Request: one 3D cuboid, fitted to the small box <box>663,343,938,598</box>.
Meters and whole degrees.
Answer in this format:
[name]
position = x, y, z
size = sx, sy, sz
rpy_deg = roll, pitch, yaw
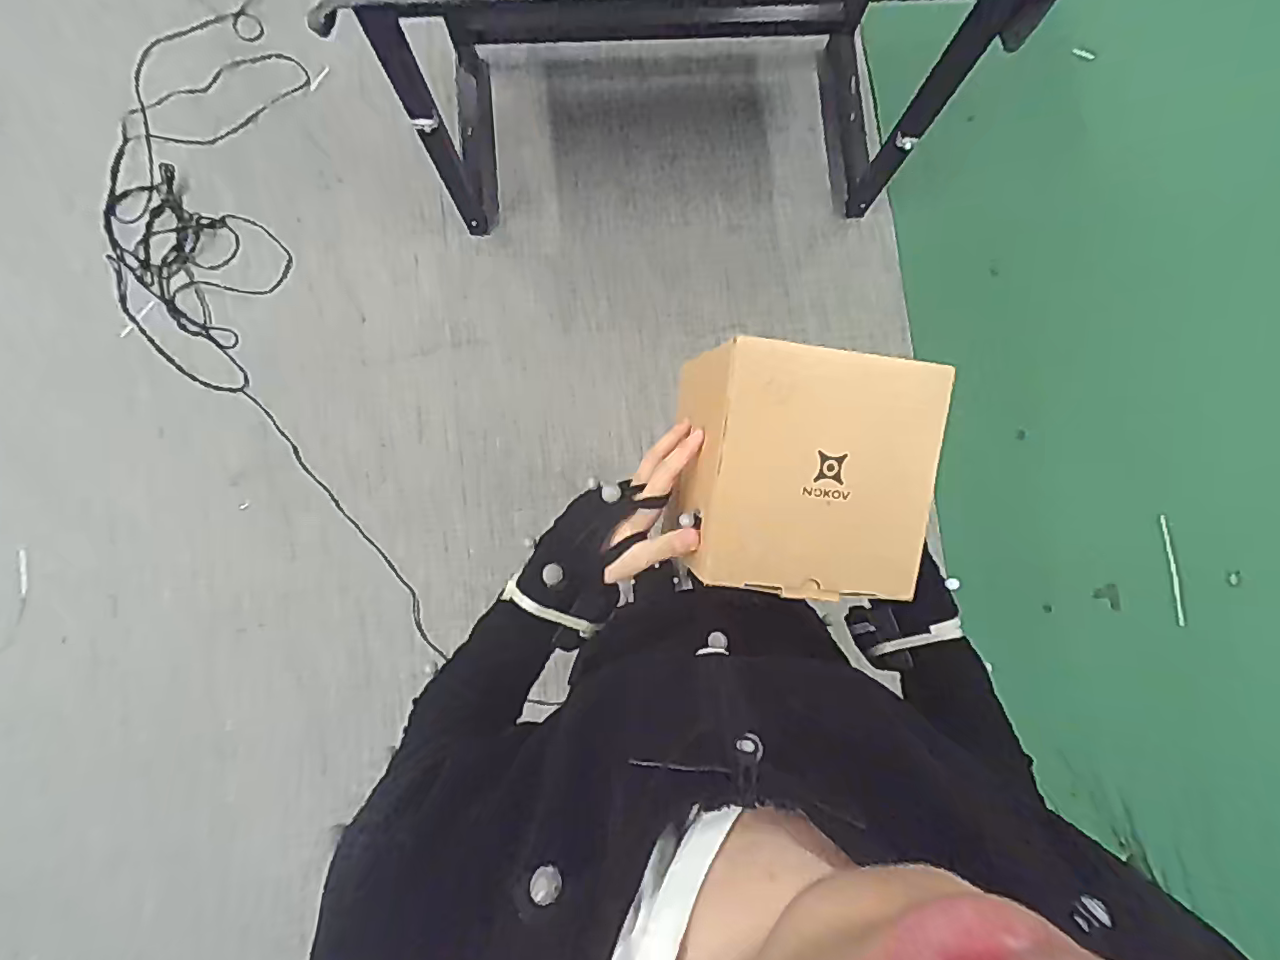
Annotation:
[small box]
position = 0.120, -0.011, 0.472
size = 0.168, 0.176, 0.179
rpy_deg = 5, 96, -9
